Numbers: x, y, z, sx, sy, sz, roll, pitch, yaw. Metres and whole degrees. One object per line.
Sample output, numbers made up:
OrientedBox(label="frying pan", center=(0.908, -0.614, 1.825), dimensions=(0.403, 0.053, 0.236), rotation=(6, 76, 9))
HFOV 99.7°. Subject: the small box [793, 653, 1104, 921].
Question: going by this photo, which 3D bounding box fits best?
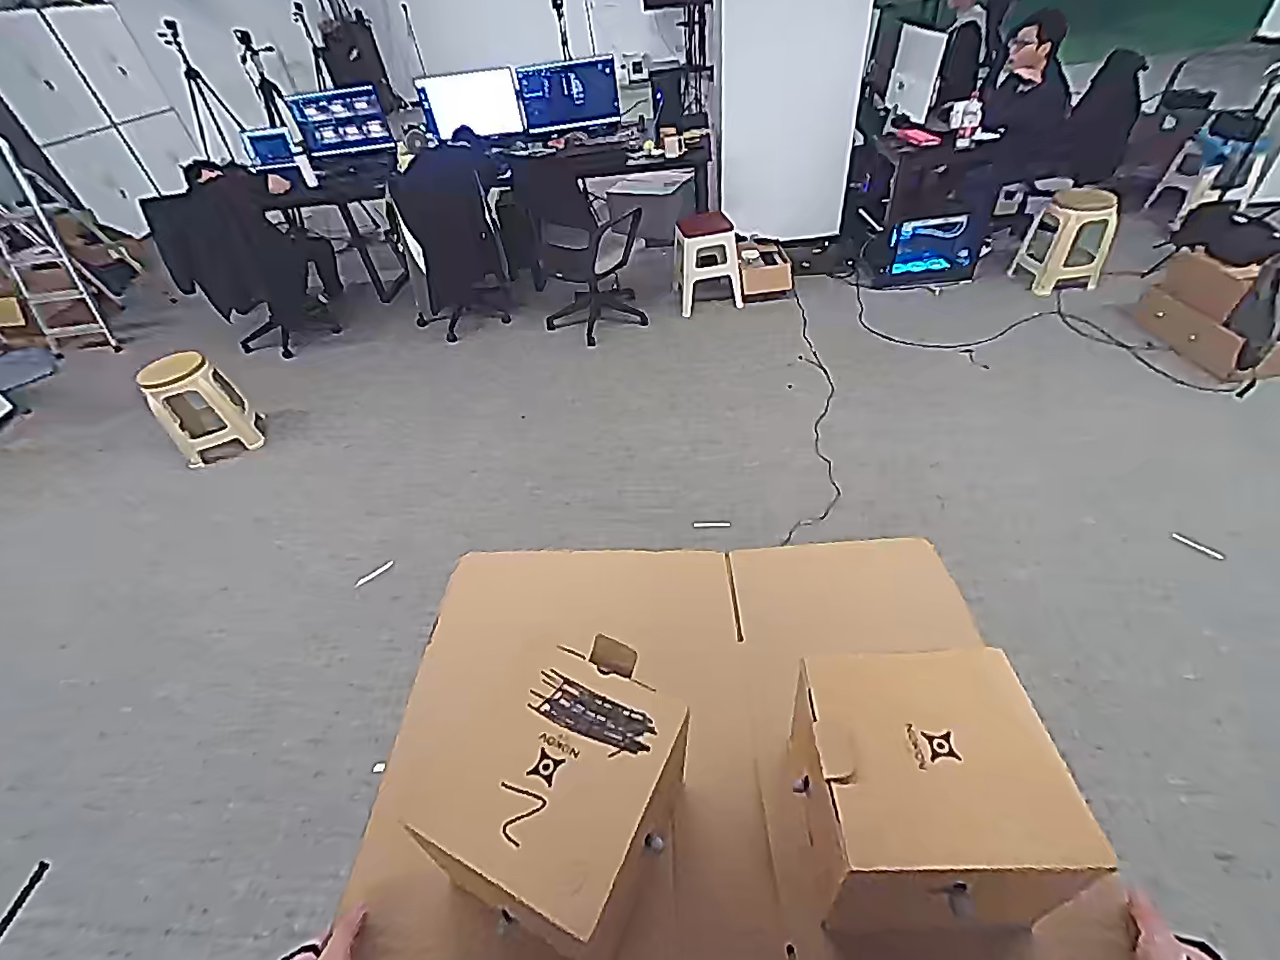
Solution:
OrientedBox(label="small box", center=(0.245, 0.276, 0.488), dimensions=(0.179, 0.176, 0.168), rotation=(-5, 40, 6))
